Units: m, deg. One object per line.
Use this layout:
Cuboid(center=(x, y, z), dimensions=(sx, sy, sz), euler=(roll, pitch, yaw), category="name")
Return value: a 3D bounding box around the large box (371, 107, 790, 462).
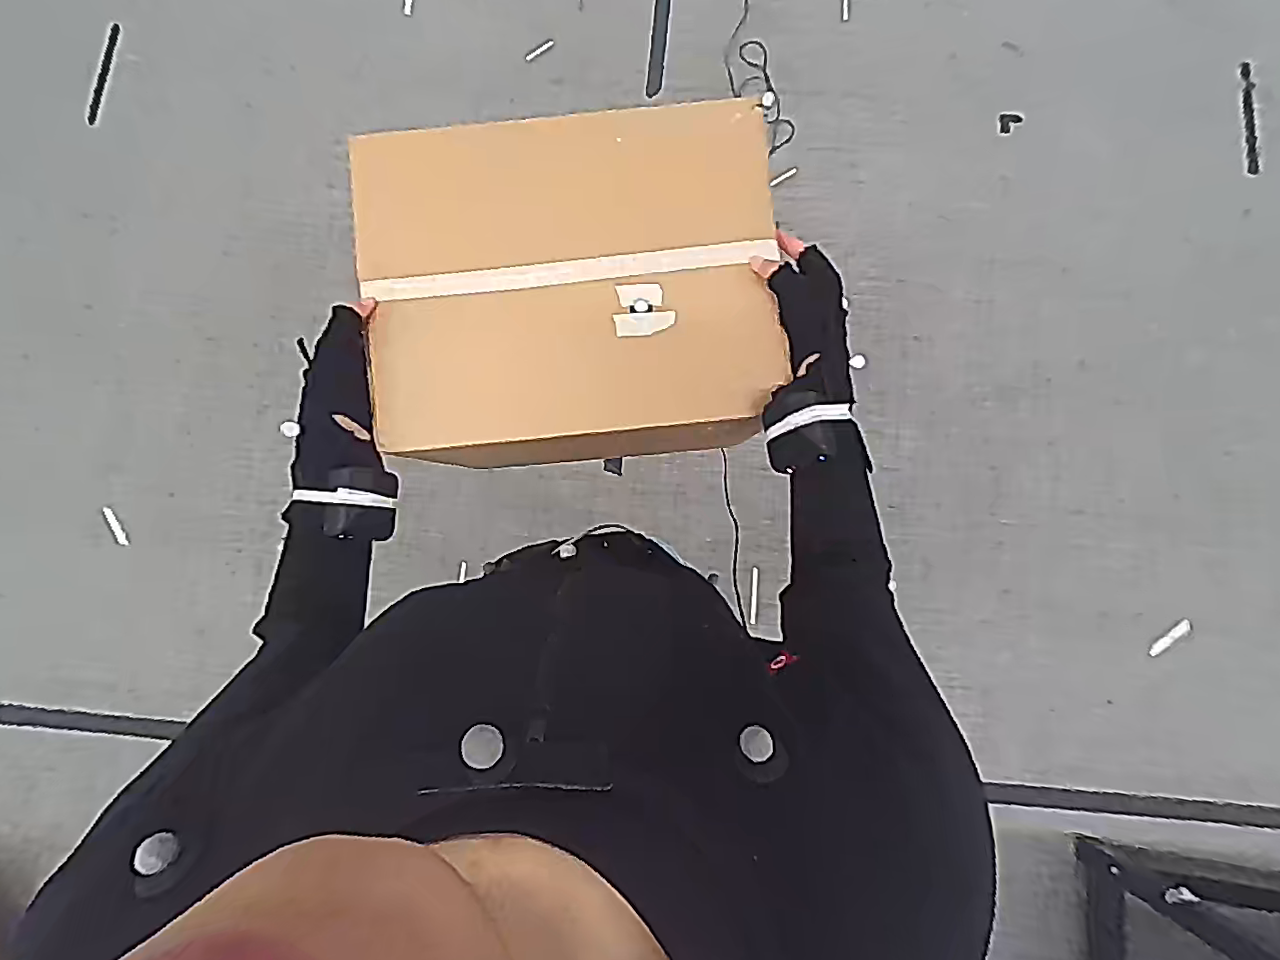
Cuboid(center=(-0.063, -0.202, 0.686), dimensions=(0.408, 0.320, 0.320), euler=(-4, 89, 0), category="large box")
